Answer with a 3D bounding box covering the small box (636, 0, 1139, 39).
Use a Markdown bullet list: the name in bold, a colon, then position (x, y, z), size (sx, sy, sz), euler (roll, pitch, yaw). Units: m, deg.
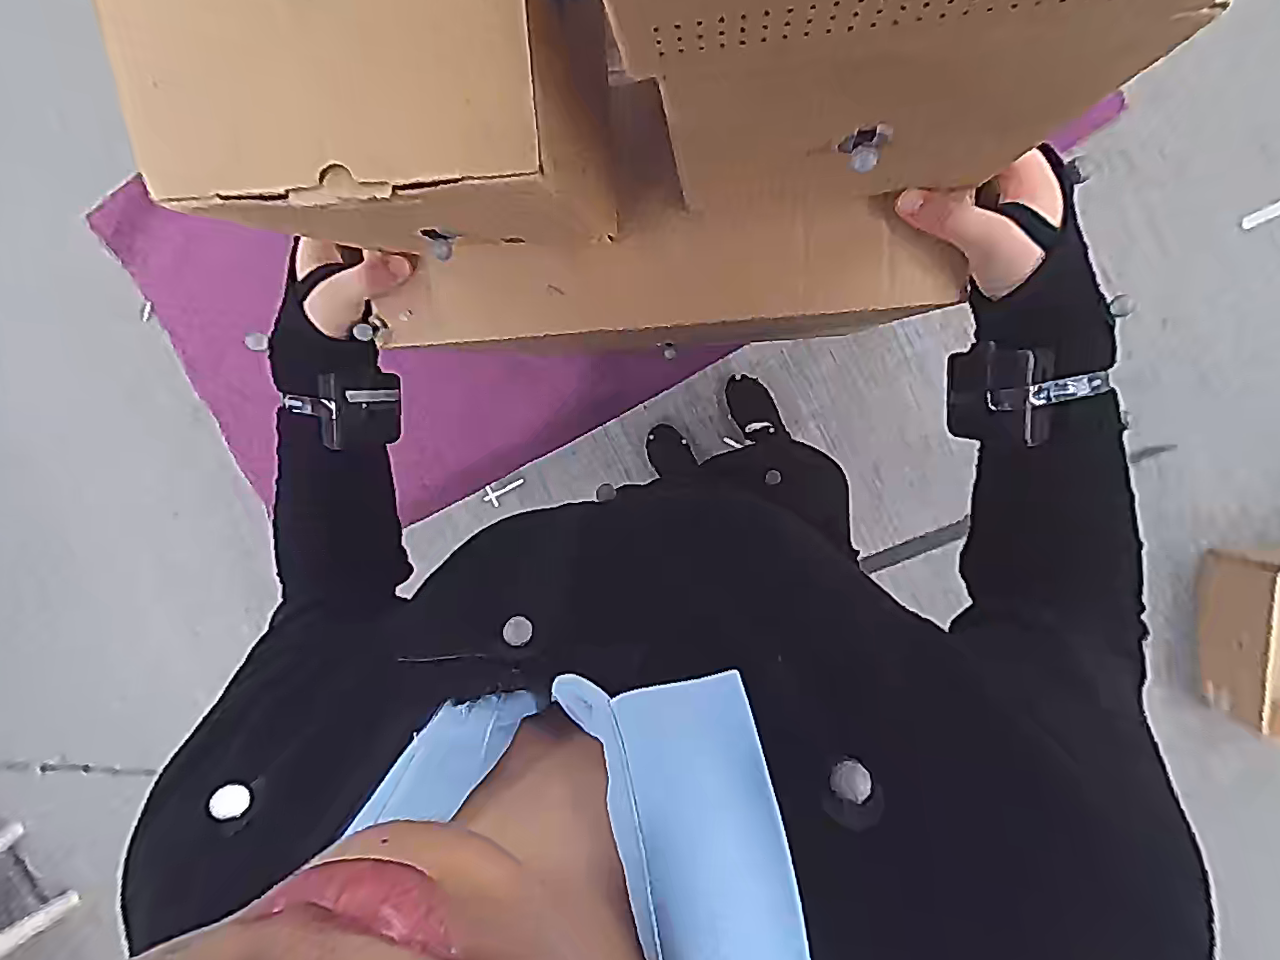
- **small box**: position (0.070, -0.200, 0.072), size (0.179, 0.176, 0.168), euler (0, 102, 8)
